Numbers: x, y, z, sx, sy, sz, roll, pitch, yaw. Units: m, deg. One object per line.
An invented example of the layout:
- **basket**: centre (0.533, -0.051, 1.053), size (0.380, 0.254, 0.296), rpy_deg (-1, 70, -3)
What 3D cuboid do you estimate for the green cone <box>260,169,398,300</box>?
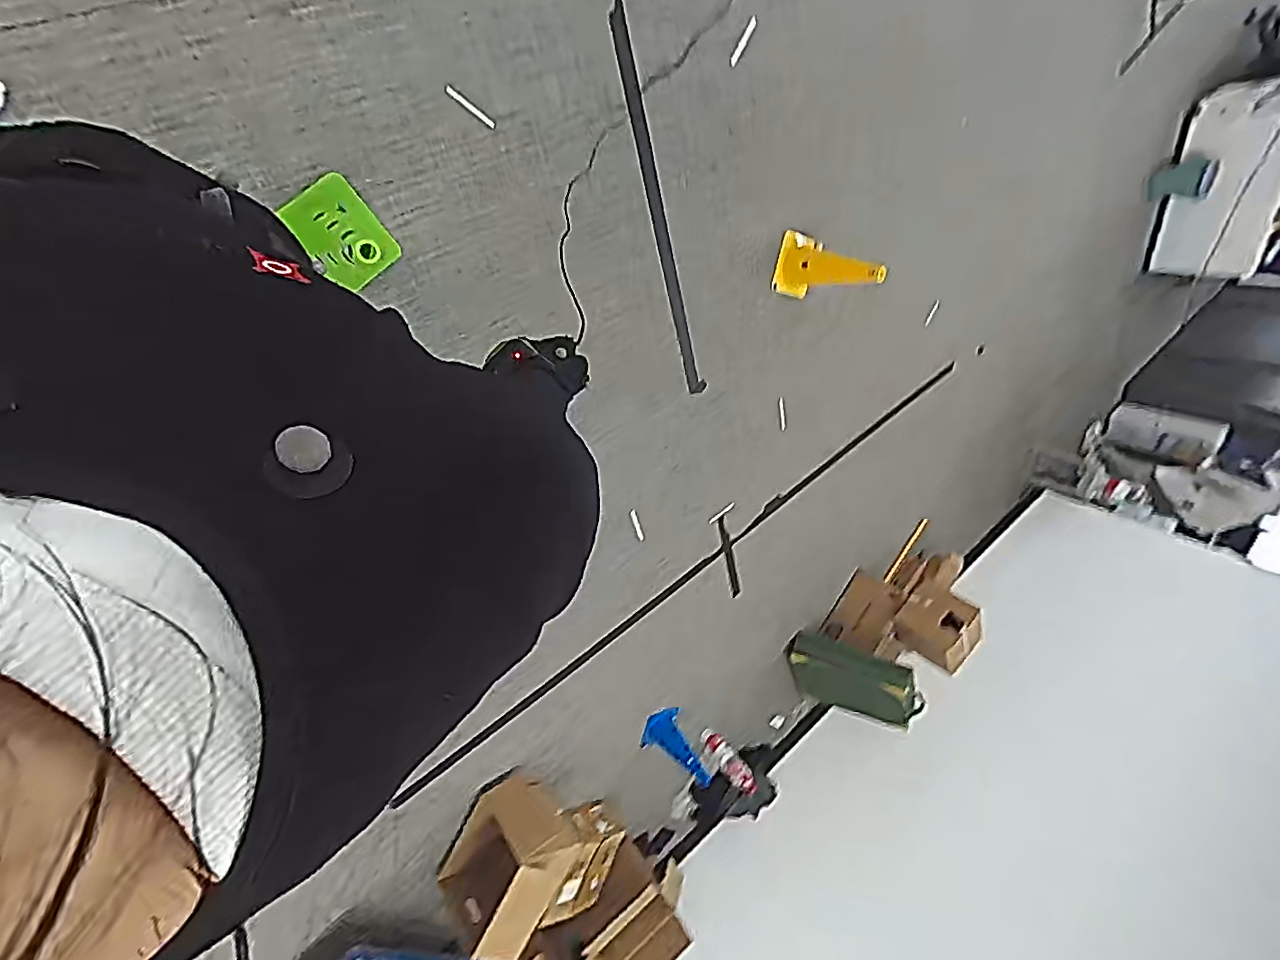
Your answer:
- **green cone**: centre (-0.562, -0.461, 1.036), size (0.200, 0.368, 0.202), rpy_deg (-47, 131, -11)
